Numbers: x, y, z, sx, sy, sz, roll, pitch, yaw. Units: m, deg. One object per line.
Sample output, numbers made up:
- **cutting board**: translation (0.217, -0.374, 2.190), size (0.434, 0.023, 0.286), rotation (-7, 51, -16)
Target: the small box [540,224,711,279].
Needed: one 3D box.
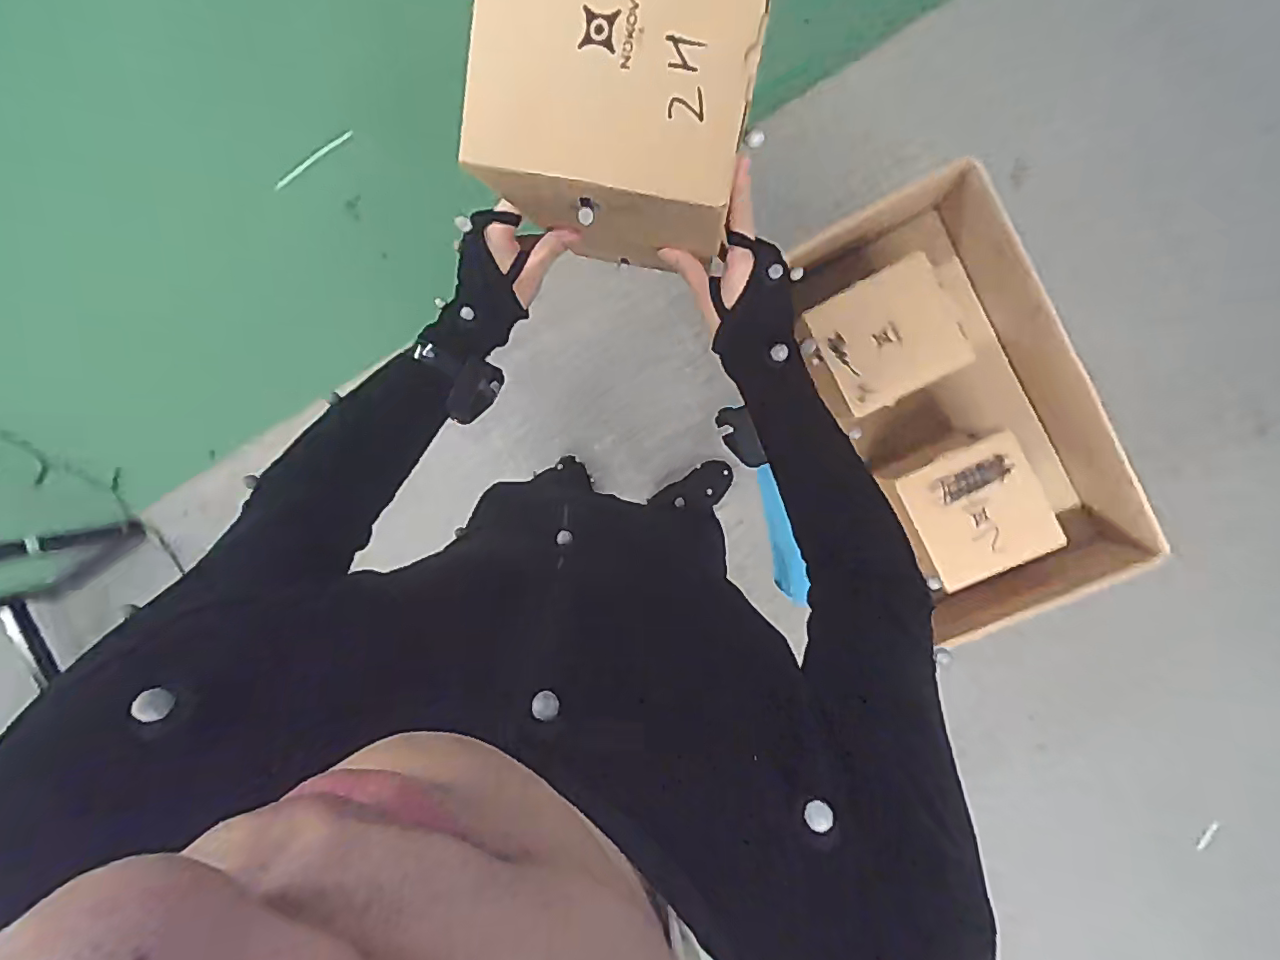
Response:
- **small box**: translation (0.003, -0.321, 0.556), size (0.168, 0.176, 0.179), rotation (10, 103, 3)

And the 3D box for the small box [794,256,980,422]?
- **small box**: translation (0.353, -0.197, 0.808), size (0.179, 0.176, 0.168), rotation (-26, 90, 9)

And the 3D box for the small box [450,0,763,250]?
- **small box**: translation (-0.014, -0.280, 0.397), size (0.179, 0.176, 0.168), rotation (11, 104, 3)
